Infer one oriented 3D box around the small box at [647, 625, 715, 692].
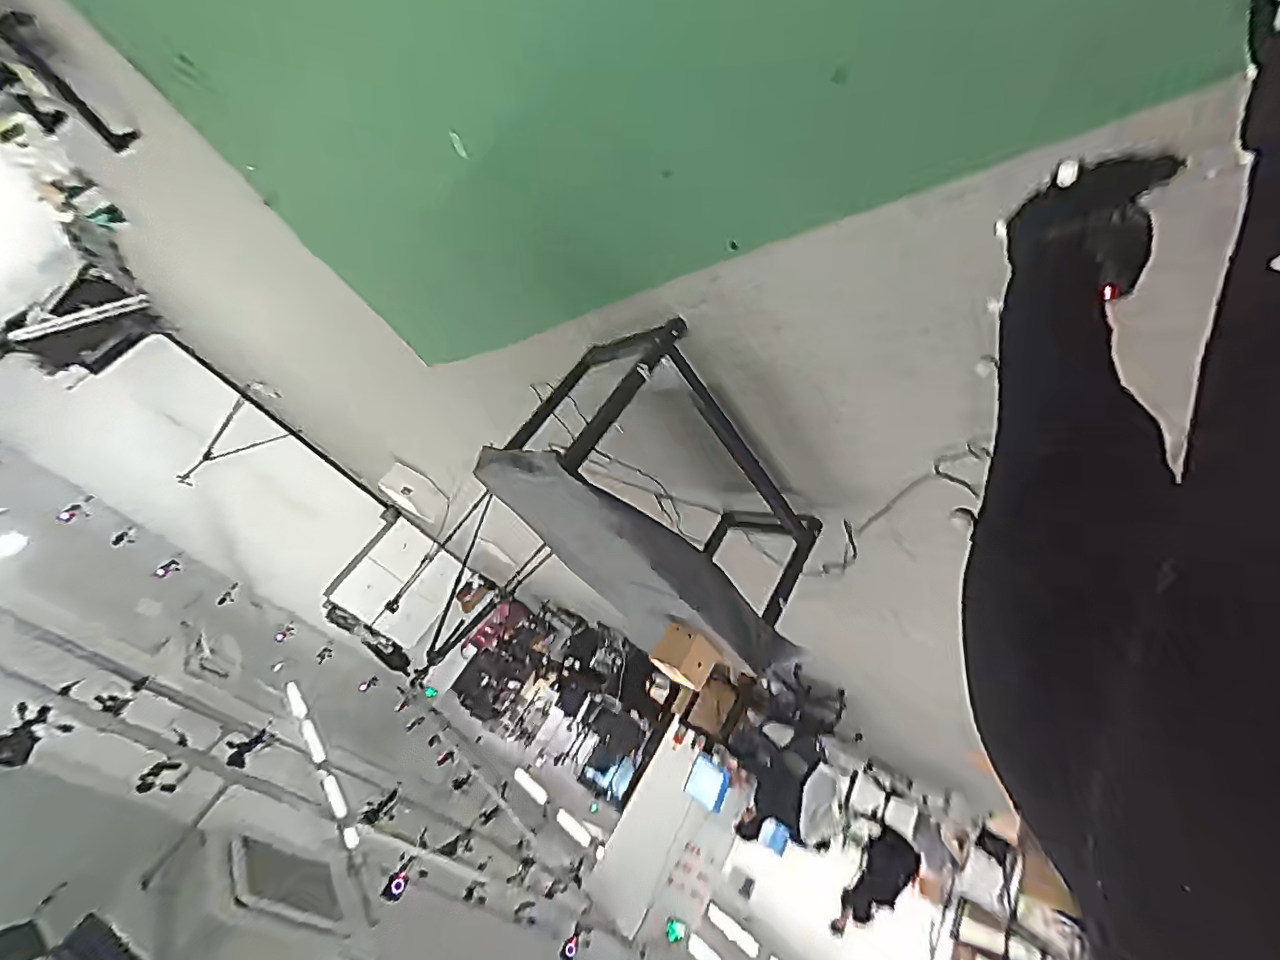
[{"bbox_3d":[0.165,0.695,2.126,0.168,0.176,0.179,5,142,49],"label":"small box"}]
